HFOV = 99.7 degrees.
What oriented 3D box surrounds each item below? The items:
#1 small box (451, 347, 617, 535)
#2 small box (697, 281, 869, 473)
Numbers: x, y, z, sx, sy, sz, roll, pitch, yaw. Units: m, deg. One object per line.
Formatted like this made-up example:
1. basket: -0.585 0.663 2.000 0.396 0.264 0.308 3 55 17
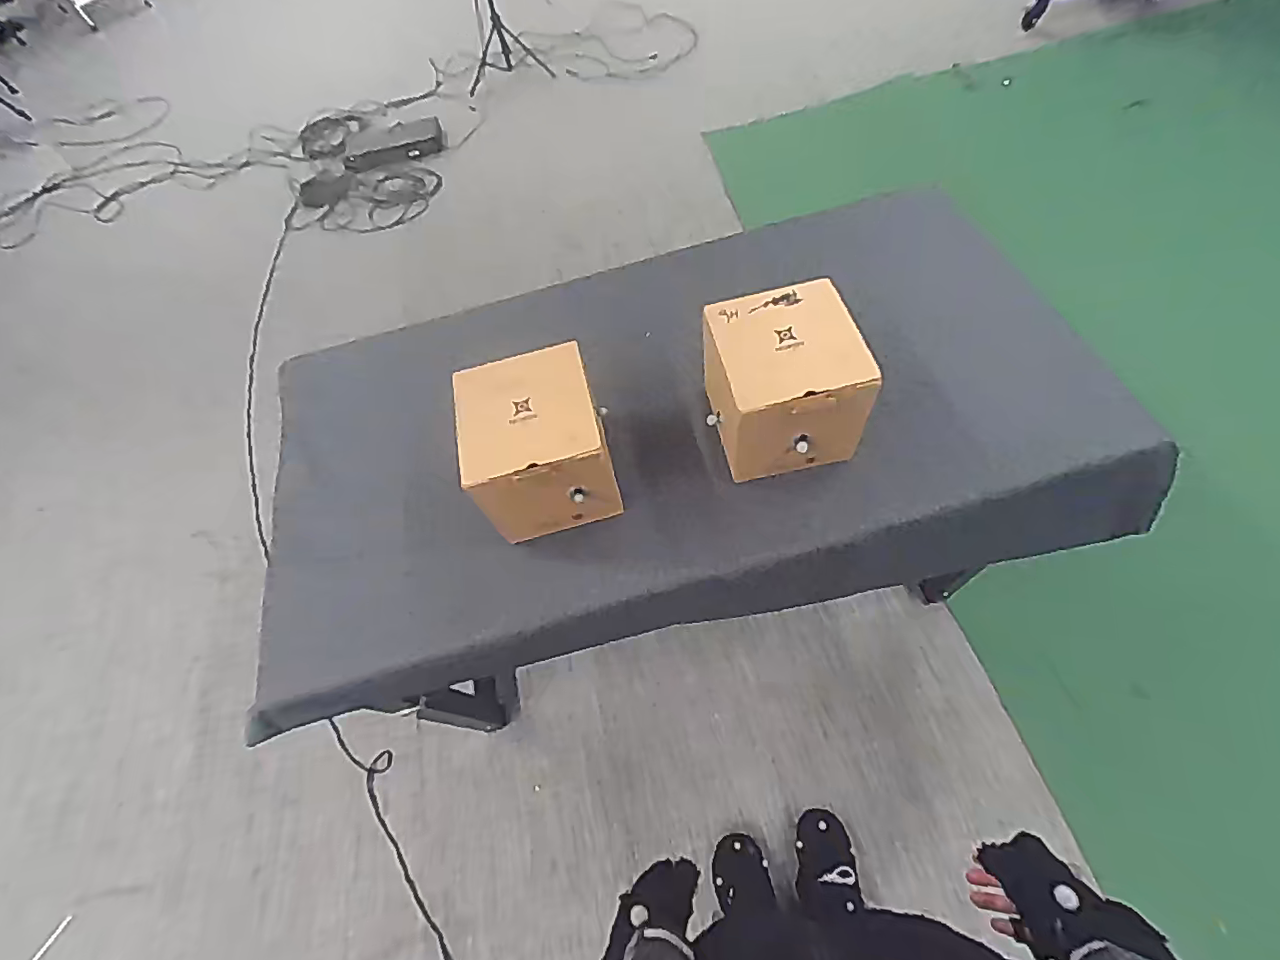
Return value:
1. small box: -0.135 -0.041 0.725 0.168 0.176 0.179 -16 59 -2
2. small box: 0.178 -0.125 0.721 0.168 0.176 0.179 -13 61 1
